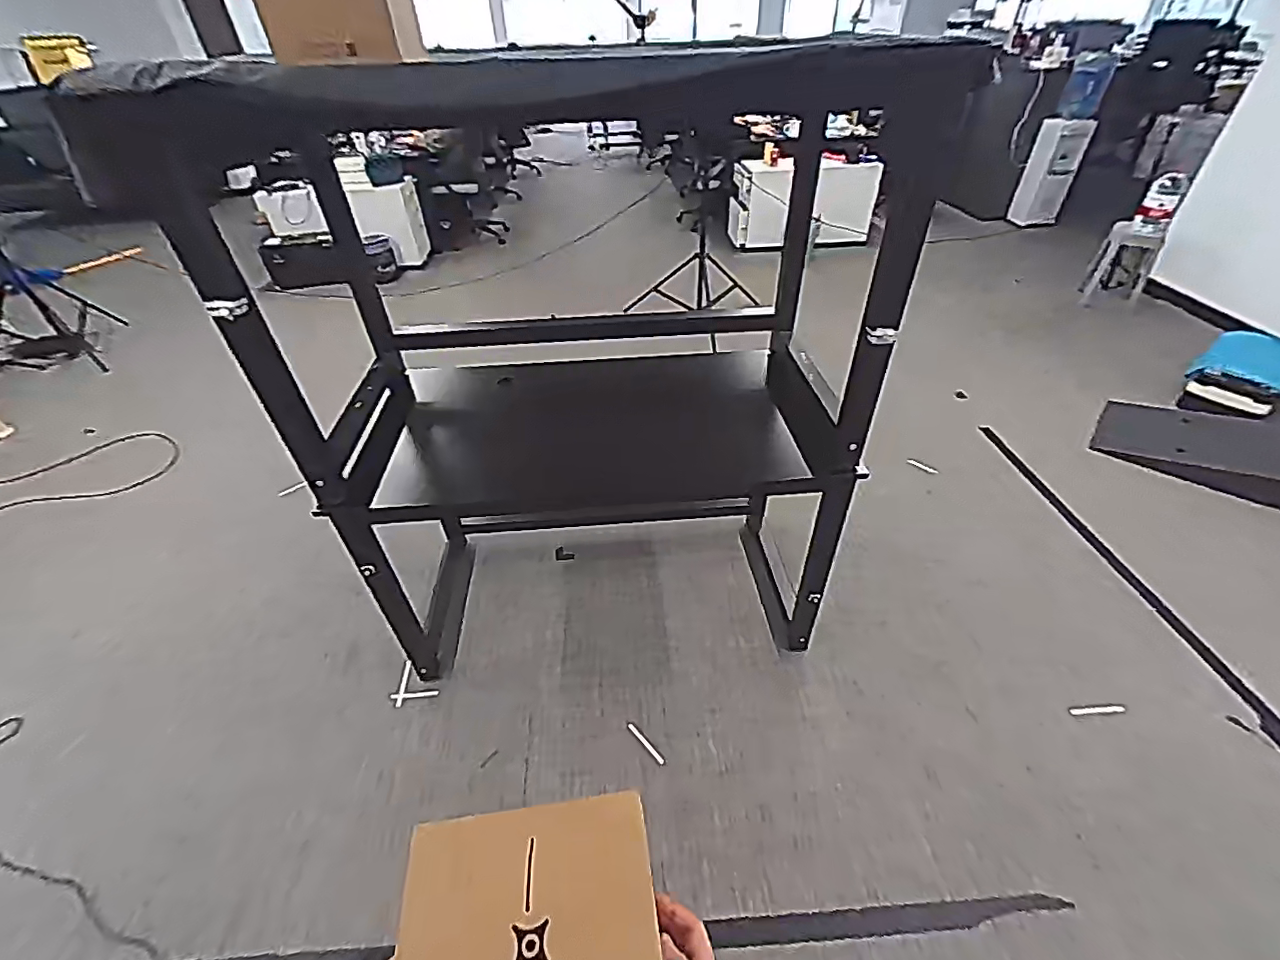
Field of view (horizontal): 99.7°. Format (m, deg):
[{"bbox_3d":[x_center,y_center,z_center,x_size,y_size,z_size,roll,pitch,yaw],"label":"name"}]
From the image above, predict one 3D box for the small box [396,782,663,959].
[{"bbox_3d":[-0.067,0.348,0.387,0.168,0.176,0.179,-5,43,-6],"label":"small box"}]
